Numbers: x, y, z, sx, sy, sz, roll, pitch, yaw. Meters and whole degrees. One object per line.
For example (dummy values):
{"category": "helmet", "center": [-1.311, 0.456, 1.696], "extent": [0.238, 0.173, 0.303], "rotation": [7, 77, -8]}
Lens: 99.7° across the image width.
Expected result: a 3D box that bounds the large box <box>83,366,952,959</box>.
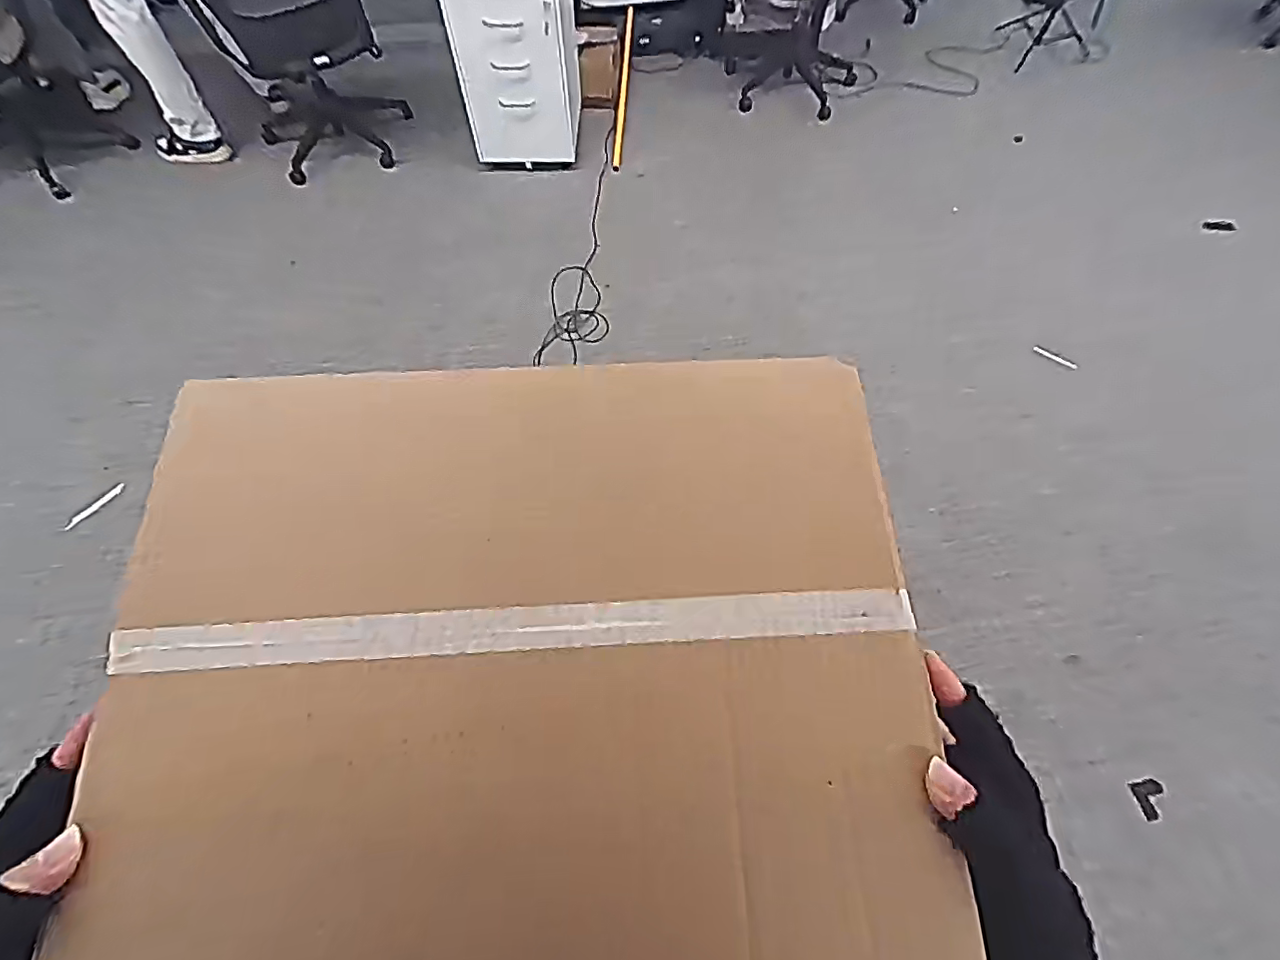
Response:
{"category": "large box", "center": [-0.063, 0.131, 0.434], "extent": [0.408, 0.320, 0.320], "rotation": [-3, 70, -2]}
